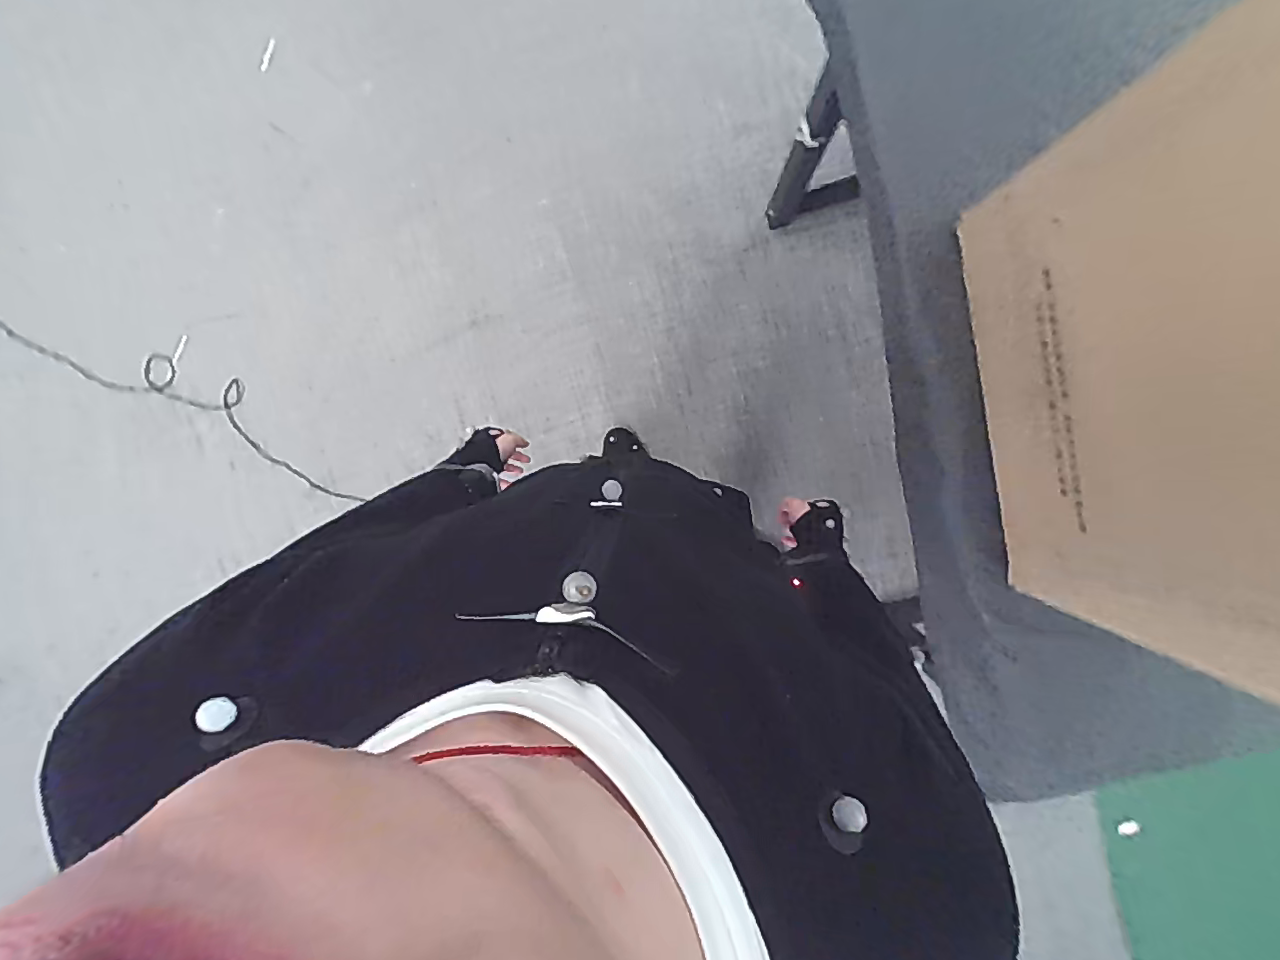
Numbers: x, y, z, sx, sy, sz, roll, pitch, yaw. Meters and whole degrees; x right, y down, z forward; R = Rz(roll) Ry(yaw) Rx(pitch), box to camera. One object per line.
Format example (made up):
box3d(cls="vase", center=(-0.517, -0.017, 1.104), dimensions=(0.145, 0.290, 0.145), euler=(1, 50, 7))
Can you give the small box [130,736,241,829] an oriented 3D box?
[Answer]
box3d(cls="small box", center=(-1.355, 0.896, 1.624), dimensions=(0.168, 0.176, 0.179), euler=(-14, 94, 5))
